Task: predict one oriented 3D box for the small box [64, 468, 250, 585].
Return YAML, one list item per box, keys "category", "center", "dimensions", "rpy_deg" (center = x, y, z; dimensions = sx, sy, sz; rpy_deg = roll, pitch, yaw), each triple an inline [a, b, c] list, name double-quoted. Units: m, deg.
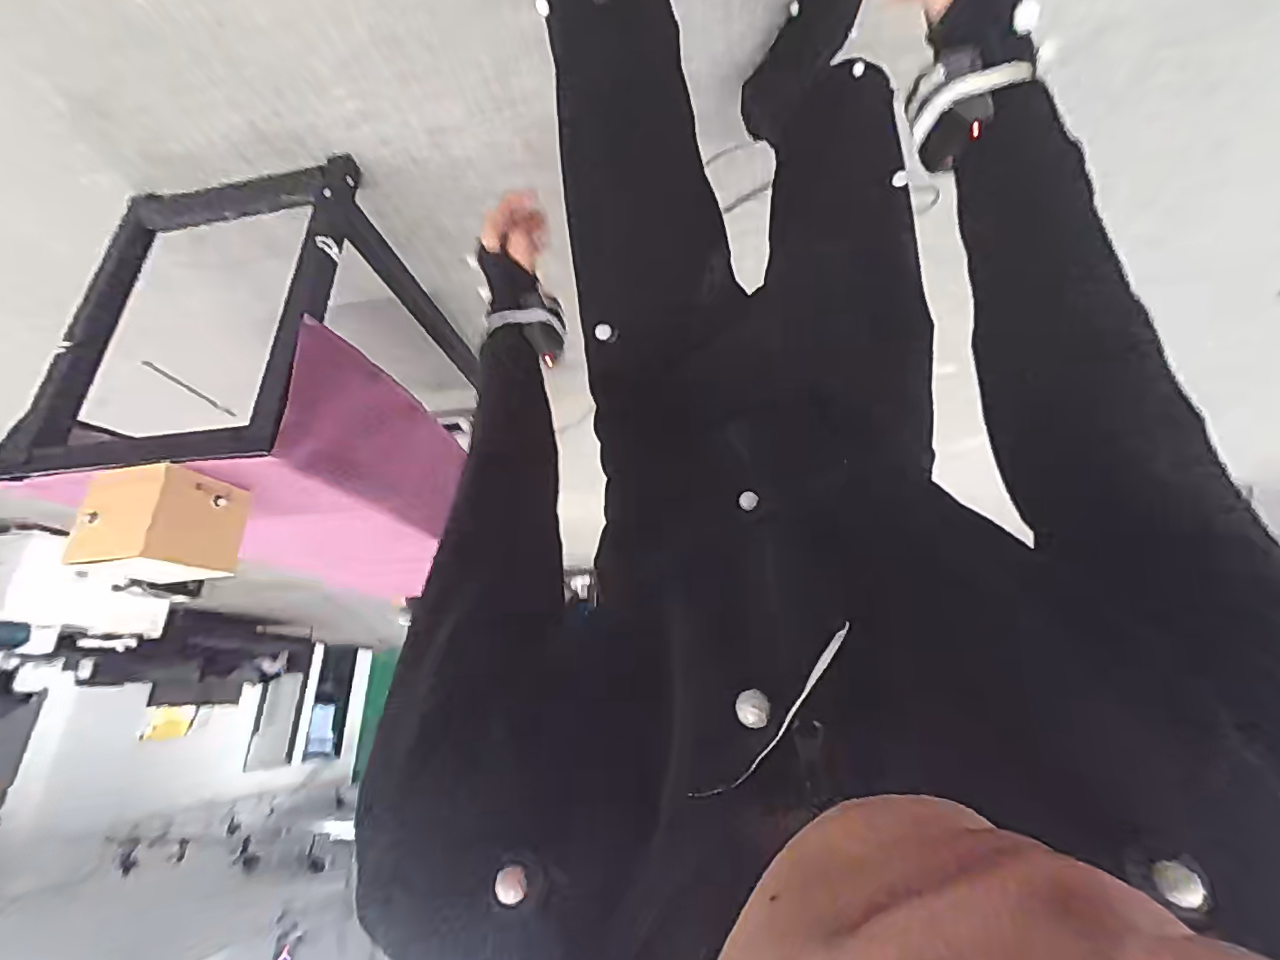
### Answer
- category: "small box"
  center: [-0.853, 0.088, 0.975]
  dimensions: [0.179, 0.176, 0.168]
  rpy_deg: [-6, 159, 13]
